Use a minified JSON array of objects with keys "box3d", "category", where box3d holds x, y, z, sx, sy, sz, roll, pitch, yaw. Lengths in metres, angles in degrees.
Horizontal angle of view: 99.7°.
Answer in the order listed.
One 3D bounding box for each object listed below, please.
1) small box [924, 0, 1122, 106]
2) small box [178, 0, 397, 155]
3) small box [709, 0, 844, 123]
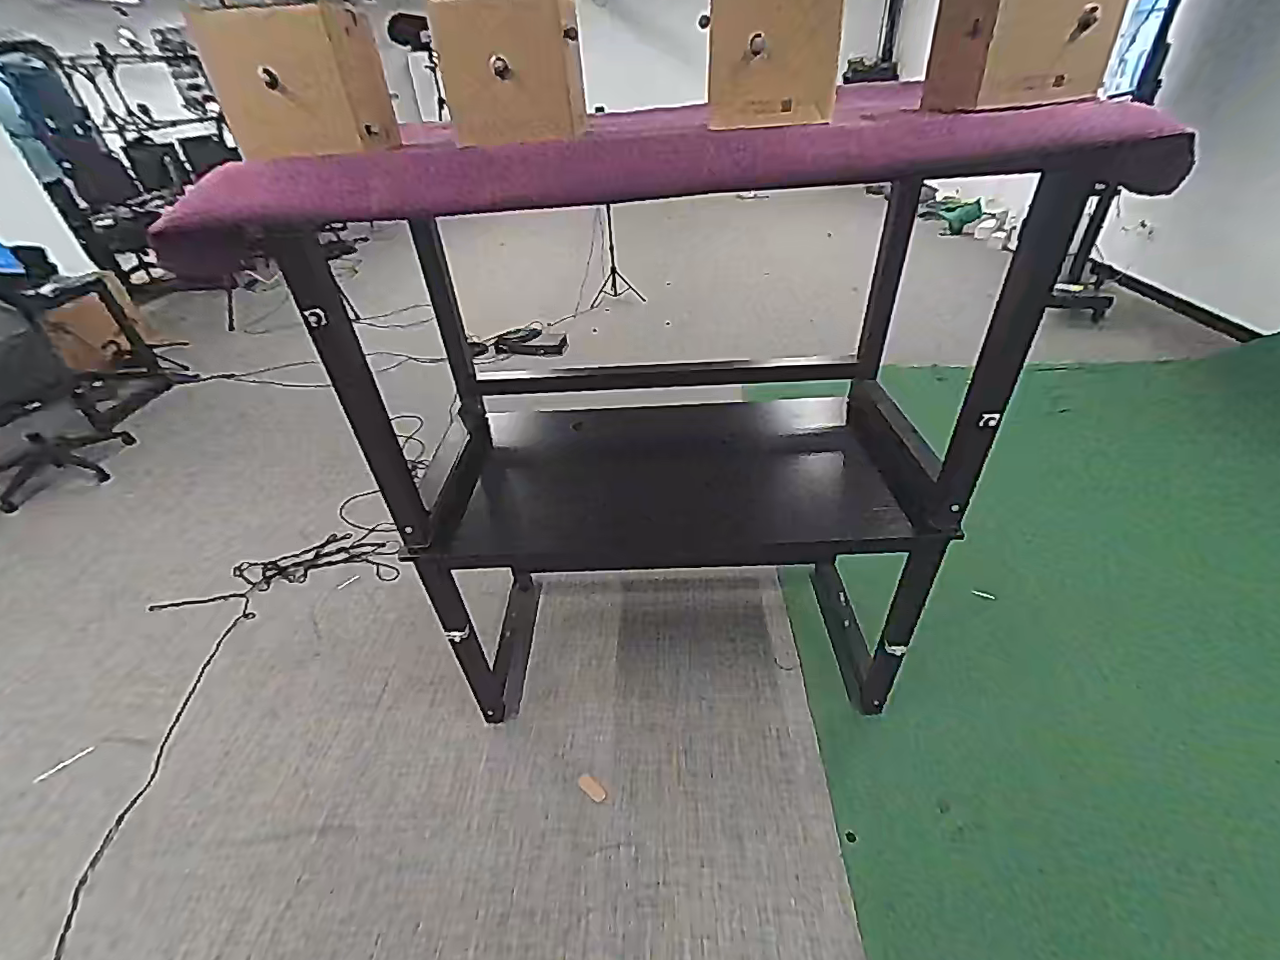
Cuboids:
[{"box3d":[0.525,-0.627,0.748,0.168,0.176,0.179,-3,35,1],"category":"small box"},{"box3d":[-0.471,-0.572,0.764,0.179,0.176,0.168,-4,37,0],"category":"small box"},{"box3d":[0.183,-0.607,0.757,0.168,0.176,0.179,1,36,7],"category":"small box"}]
